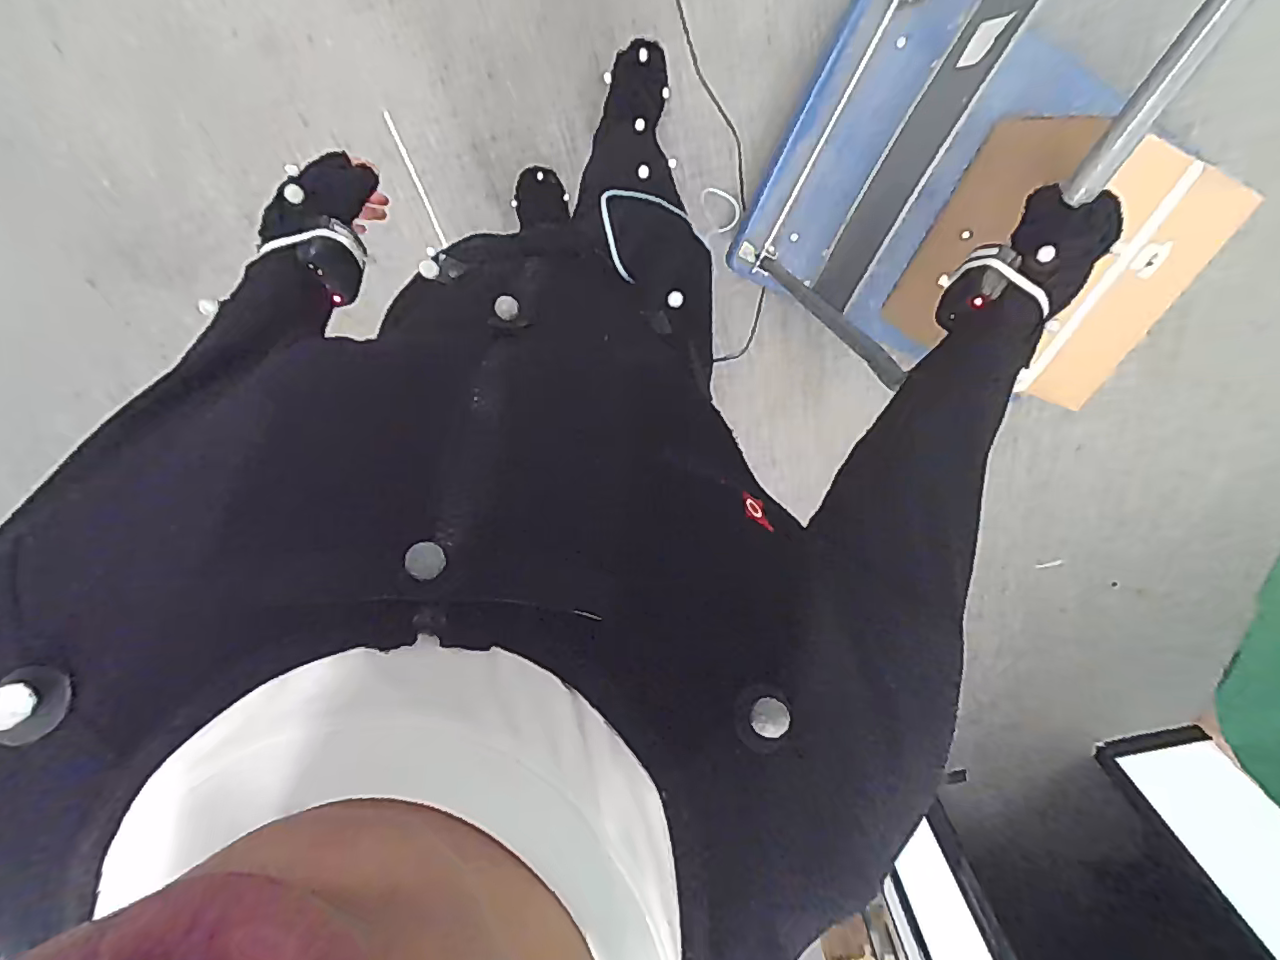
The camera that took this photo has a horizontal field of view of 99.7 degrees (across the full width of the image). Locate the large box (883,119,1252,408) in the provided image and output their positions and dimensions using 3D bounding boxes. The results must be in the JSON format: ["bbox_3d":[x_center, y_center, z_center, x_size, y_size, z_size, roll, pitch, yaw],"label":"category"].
[{"bbox_3d":[0.763,-0.413,1.049,0.320,0.320,0.408,15,121,-15],"label":"large box"}]
